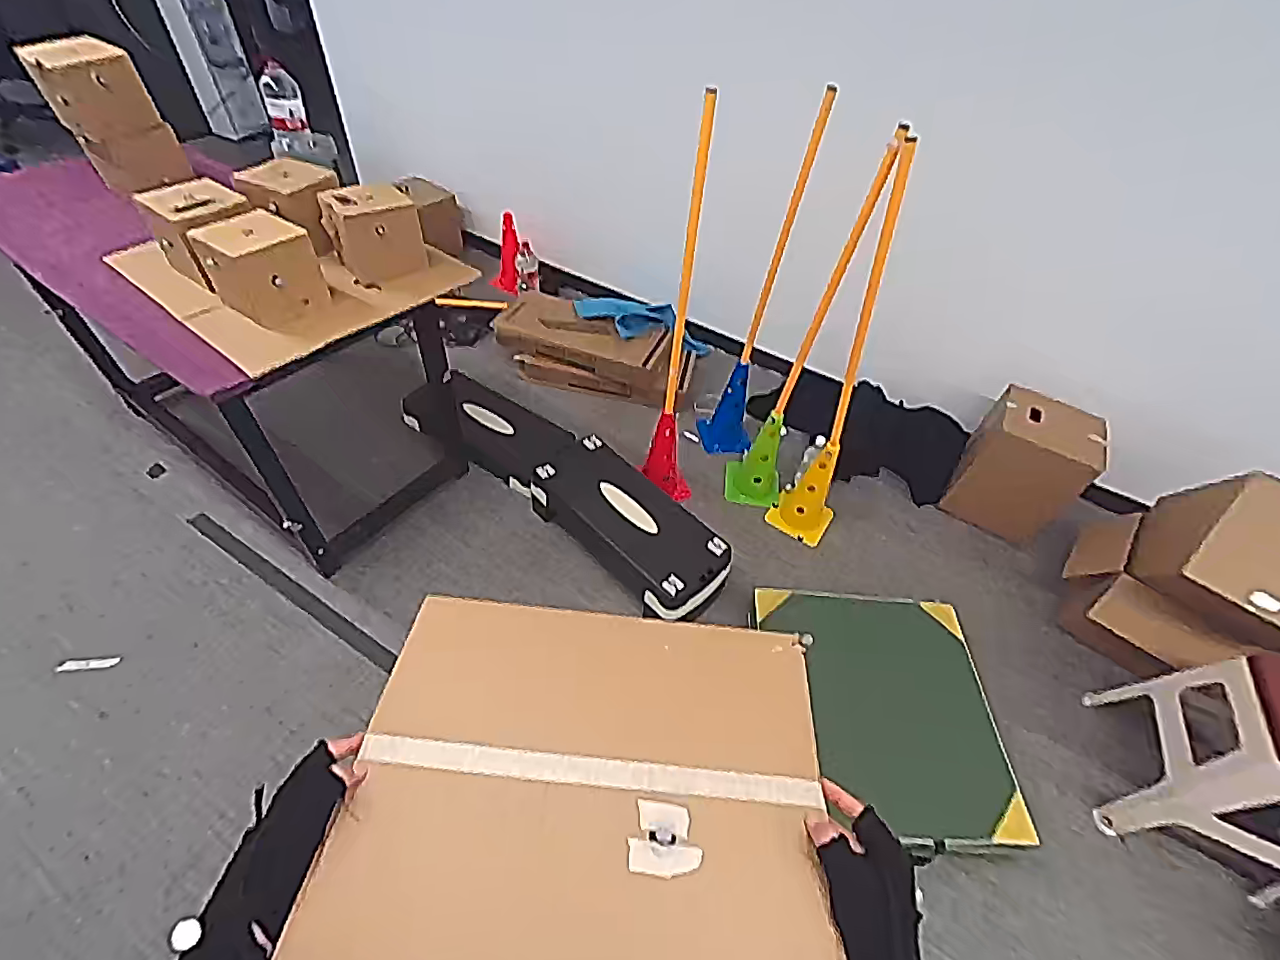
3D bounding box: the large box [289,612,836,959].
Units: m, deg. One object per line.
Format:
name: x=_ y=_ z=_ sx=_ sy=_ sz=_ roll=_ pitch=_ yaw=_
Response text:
large box: x=-0.055 y=0.373 z=0.581 sx=0.408 sy=0.320 sz=0.320 roll=7 pitch=45 yaw=1
